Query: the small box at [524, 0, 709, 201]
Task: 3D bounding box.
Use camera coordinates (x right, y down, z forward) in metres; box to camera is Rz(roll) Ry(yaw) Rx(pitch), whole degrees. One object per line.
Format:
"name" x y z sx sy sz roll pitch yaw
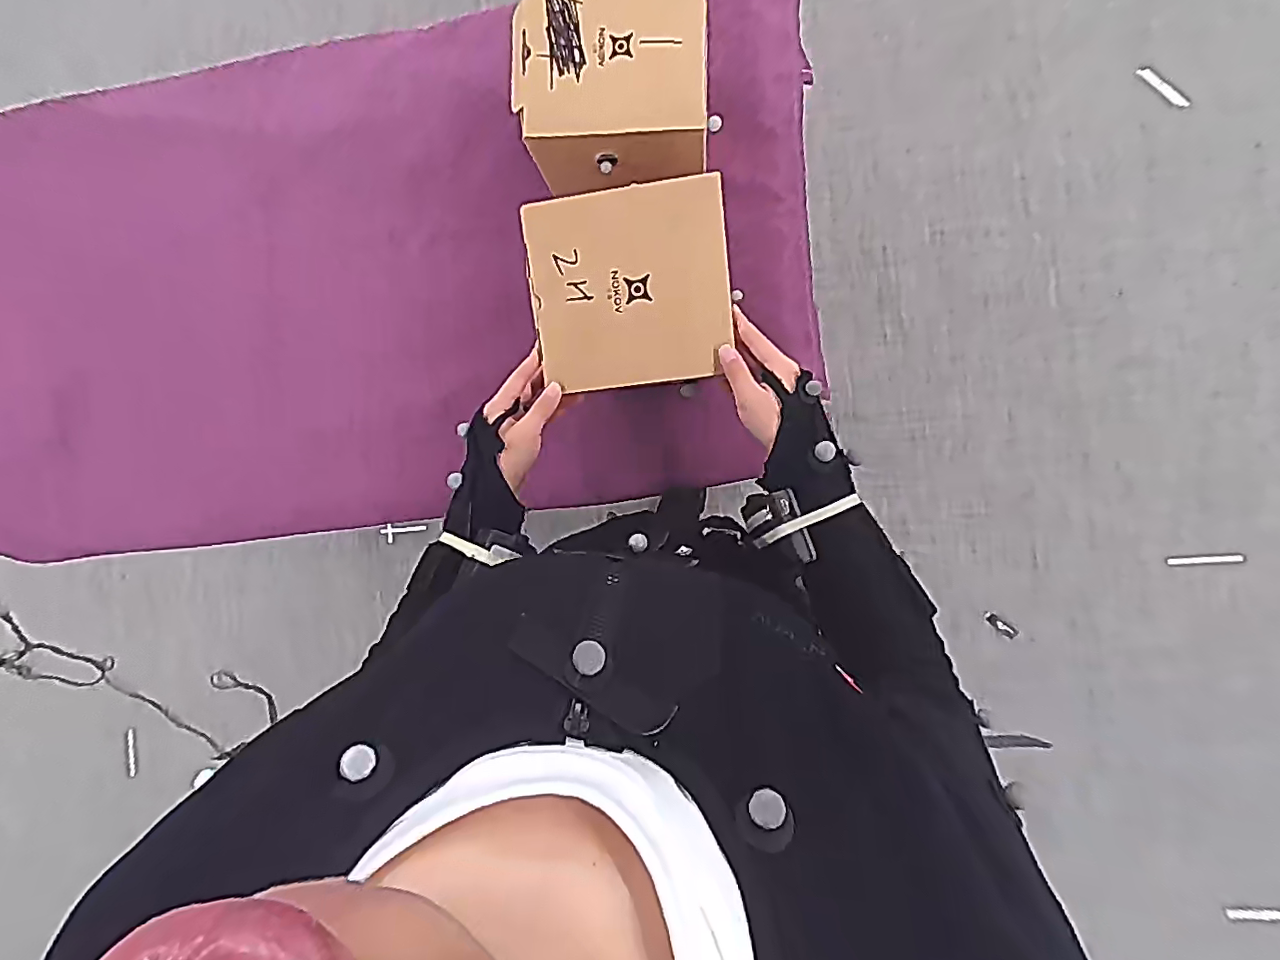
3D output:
"small box" -0.016 -0.406 0.591 0.179 0.176 0.168 1 91 6

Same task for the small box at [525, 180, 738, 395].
"small box" 0.001 -0.179 0.551 0.179 0.176 0.168 -5 99 8
